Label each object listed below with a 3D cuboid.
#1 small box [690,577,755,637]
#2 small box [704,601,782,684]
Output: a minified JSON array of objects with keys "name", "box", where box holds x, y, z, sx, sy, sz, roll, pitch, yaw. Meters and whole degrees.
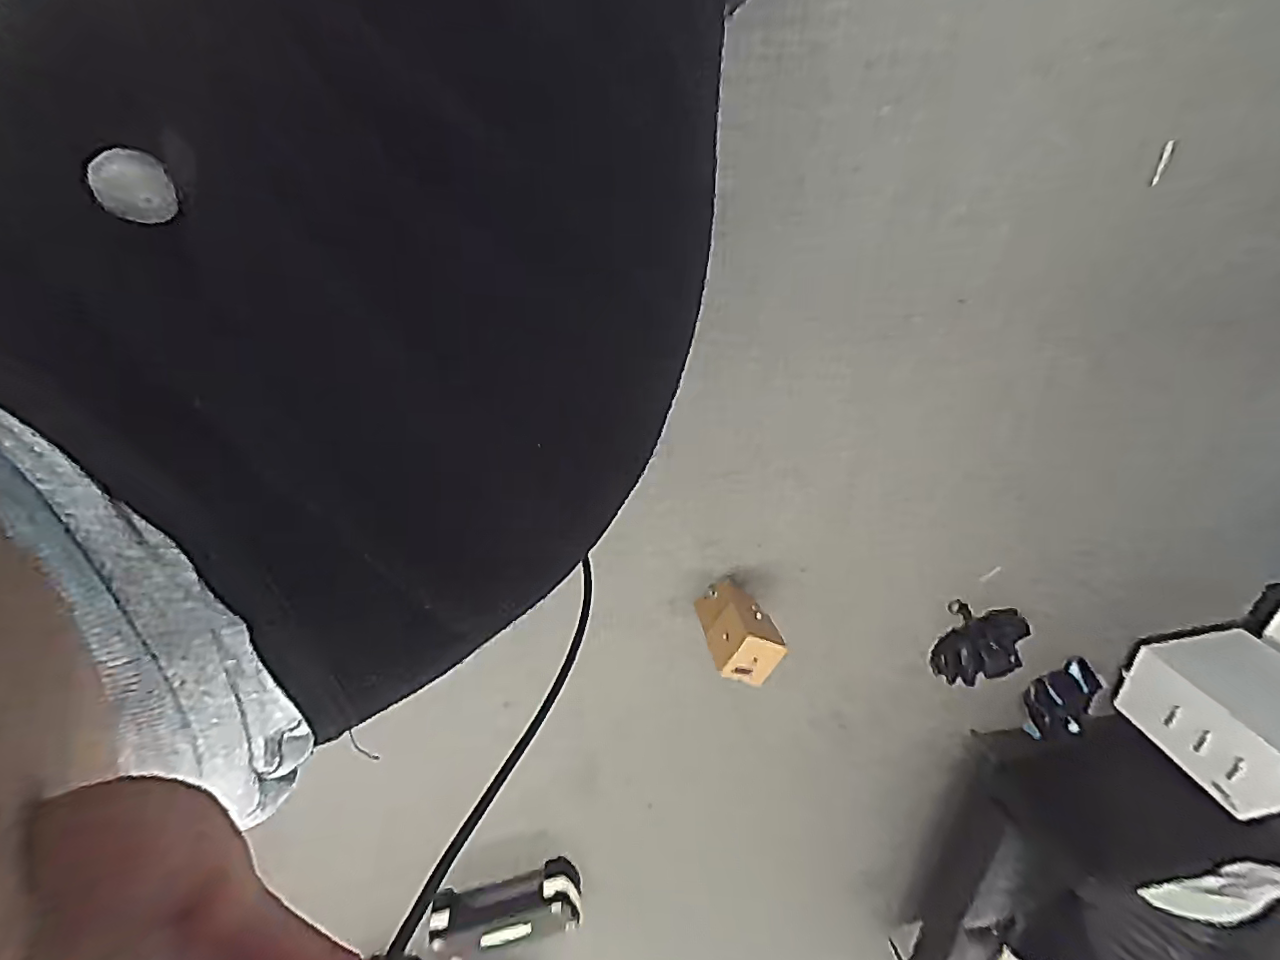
[{"name":"small box","box":[0.306,0.480,1.934,0.179,0.176,0.168,36,105,-24]},{"name":"small box","box":[0.328,0.532,1.777,0.168,0.176,0.179,23,110,-22]}]
